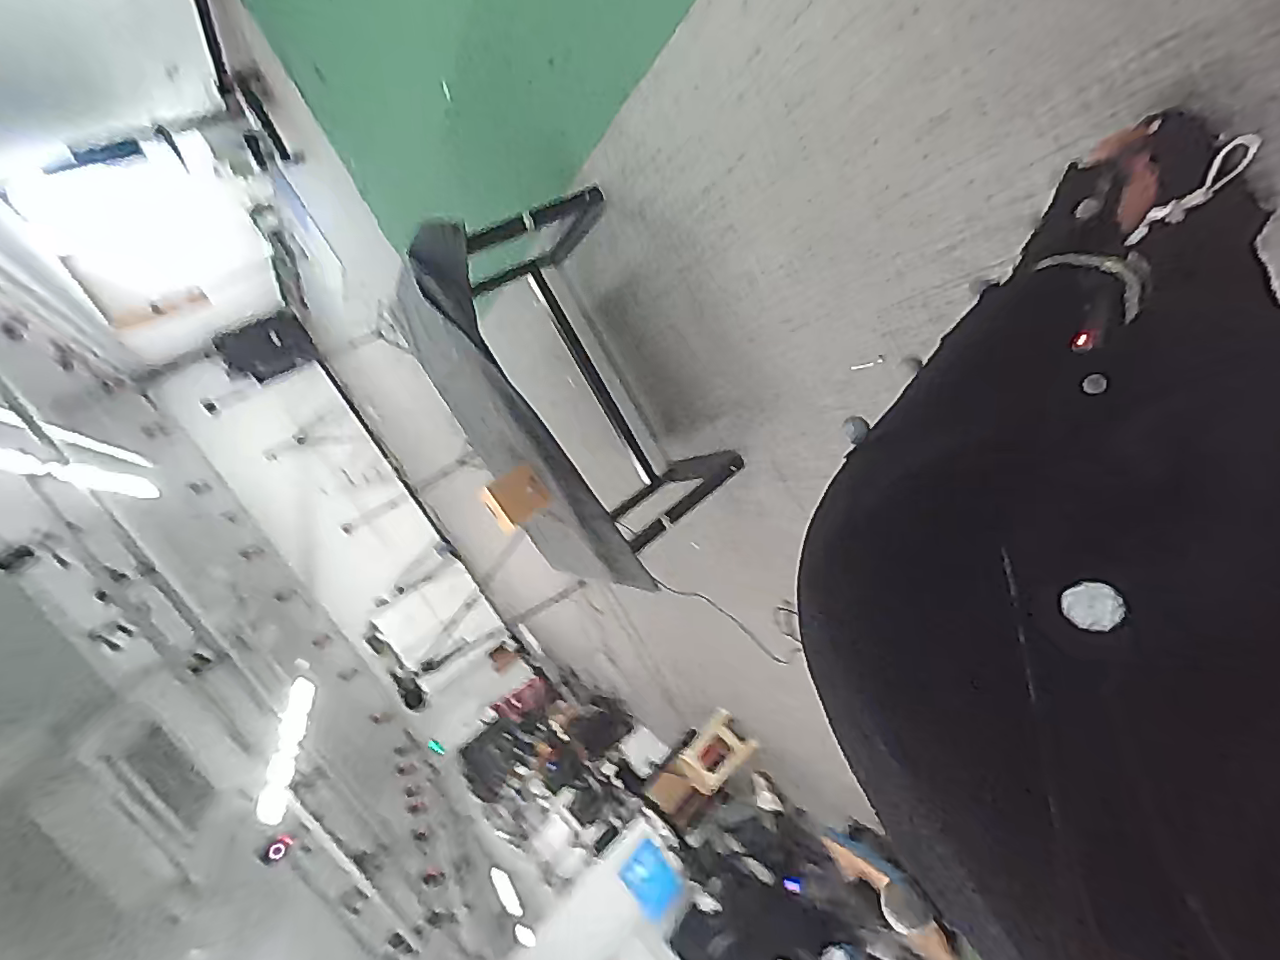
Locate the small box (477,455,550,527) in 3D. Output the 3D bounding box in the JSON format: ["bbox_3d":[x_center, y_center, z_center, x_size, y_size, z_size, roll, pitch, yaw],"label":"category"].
[{"bbox_3d":[-0.430,0.038,1.844,0.168,0.176,0.179,55,153,-4],"label":"small box"}]
